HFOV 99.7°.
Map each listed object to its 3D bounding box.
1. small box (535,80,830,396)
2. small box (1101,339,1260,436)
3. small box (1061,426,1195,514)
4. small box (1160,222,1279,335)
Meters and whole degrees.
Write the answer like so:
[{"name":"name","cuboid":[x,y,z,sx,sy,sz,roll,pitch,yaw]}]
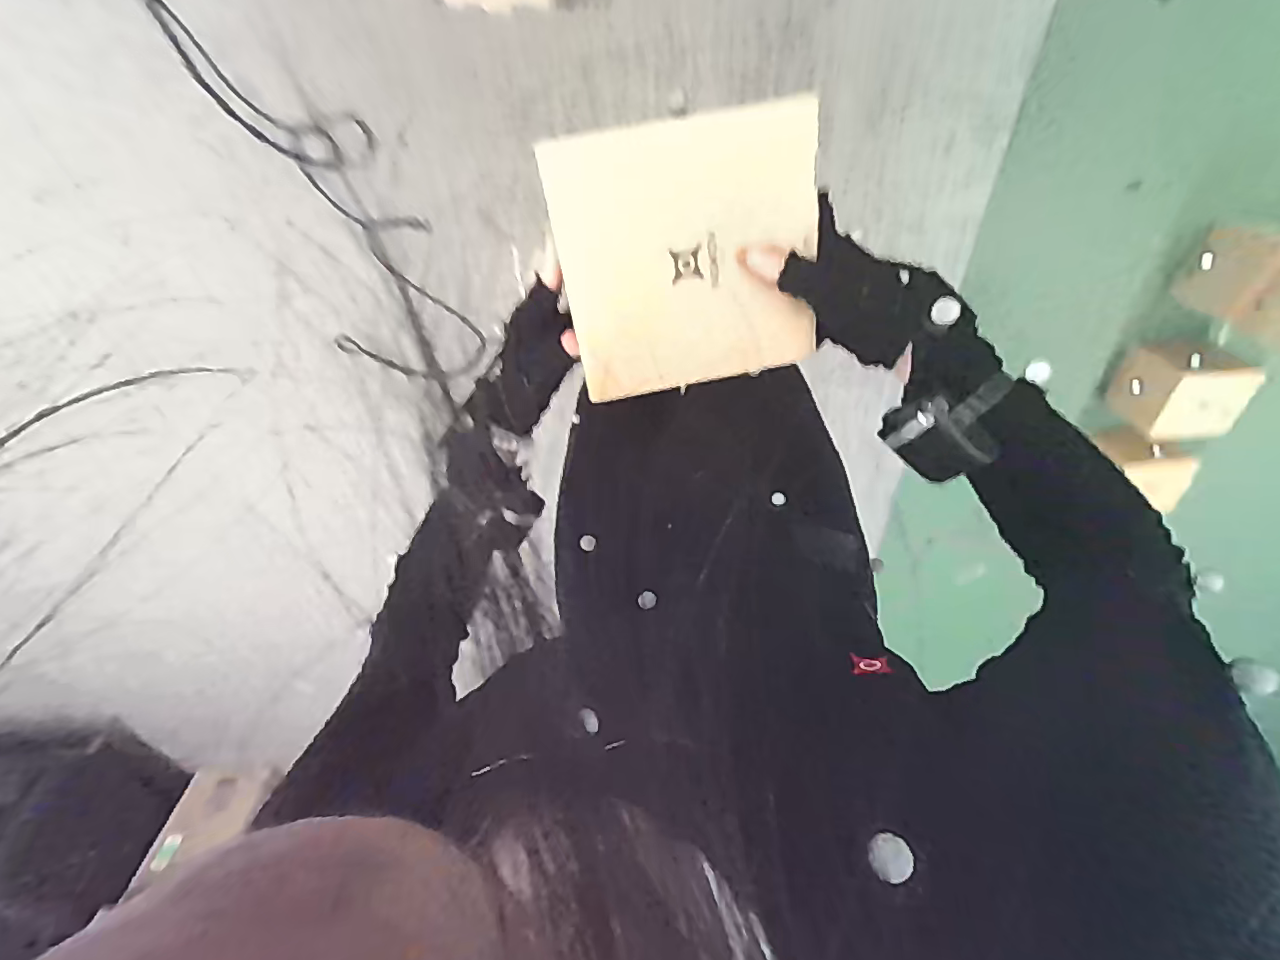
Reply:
[{"name":"small box","cuboid":[0.025,-0.182,0.415,0.179,0.176,0.168,-13,120,-4]},{"name":"small box","cuboid":[1.262,-0.221,1.284,0.179,0.176,0.168,-4,130,2]},{"name":"small box","cuboid":[1.286,-0.030,1.441,0.179,0.176,0.168,-6,129,5]},{"name":"small box","cuboid":[1.269,-0.421,1.122,0.179,0.176,0.168,7,128,-4]}]
